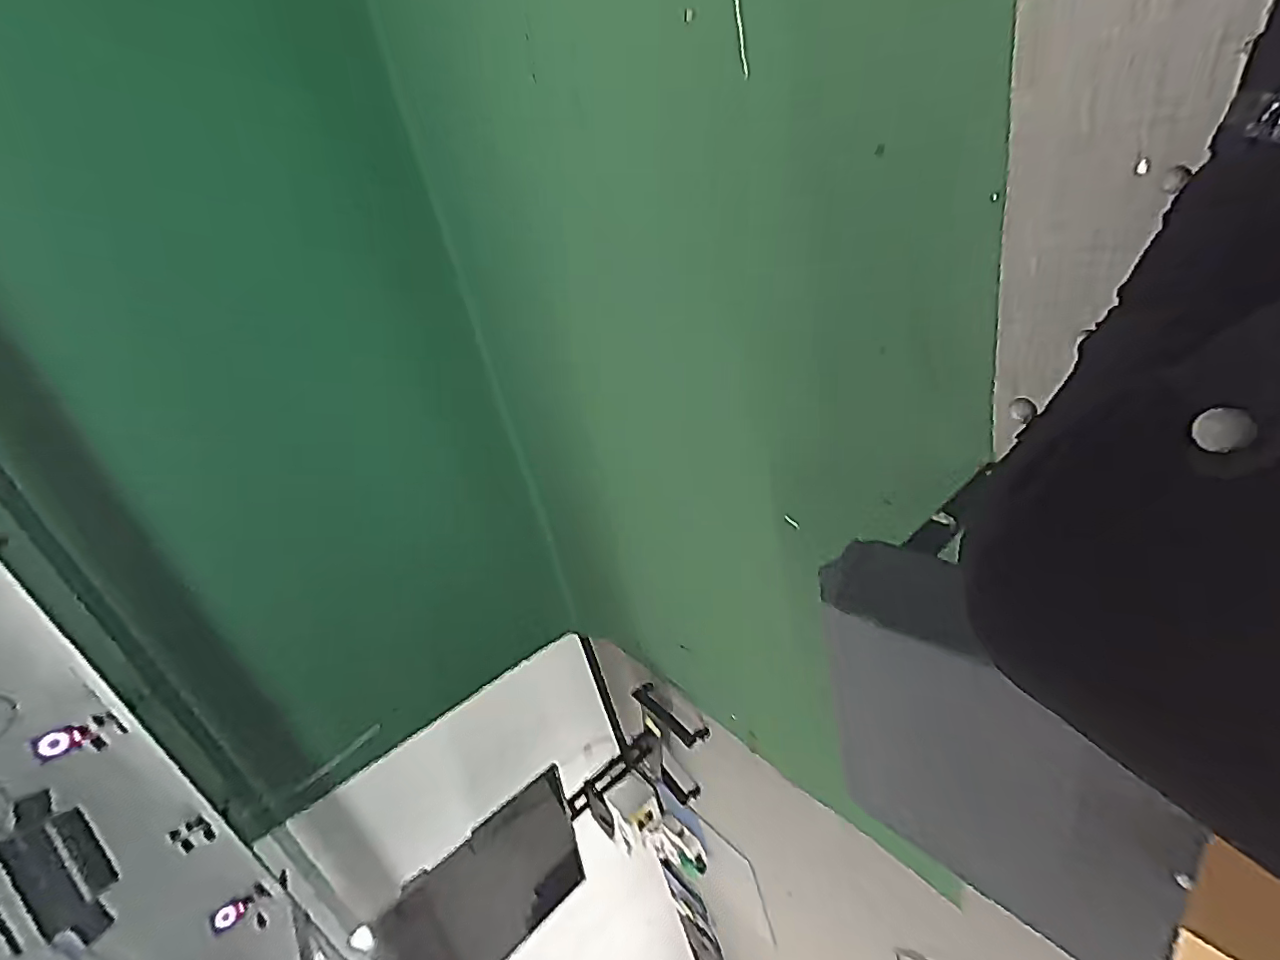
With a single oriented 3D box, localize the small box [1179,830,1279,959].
[{"bbox_3d":[0.746,0.551,0.607,0.179,0.176,0.168,17,129,52],"label":"small box"}]
